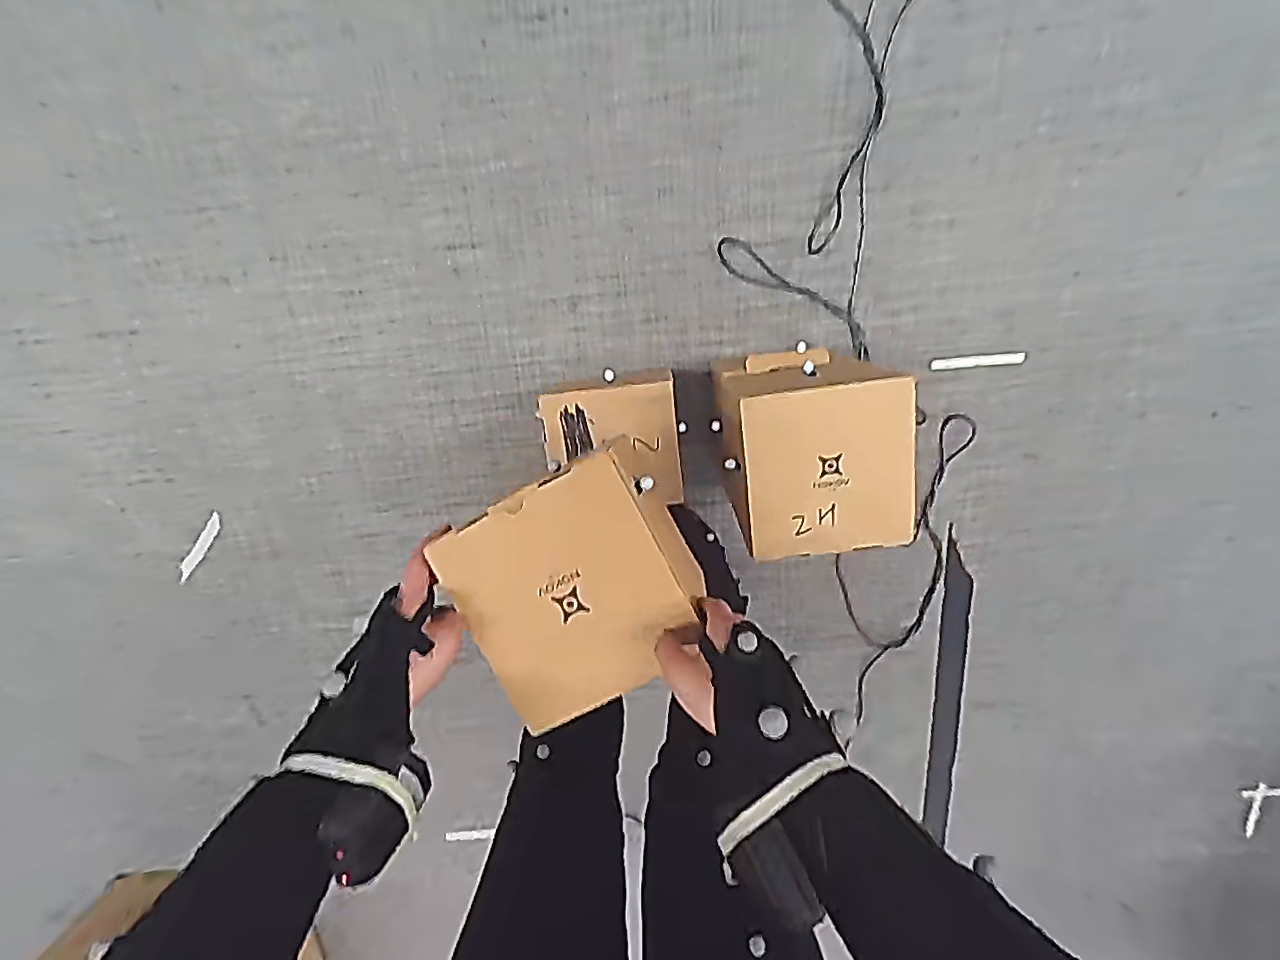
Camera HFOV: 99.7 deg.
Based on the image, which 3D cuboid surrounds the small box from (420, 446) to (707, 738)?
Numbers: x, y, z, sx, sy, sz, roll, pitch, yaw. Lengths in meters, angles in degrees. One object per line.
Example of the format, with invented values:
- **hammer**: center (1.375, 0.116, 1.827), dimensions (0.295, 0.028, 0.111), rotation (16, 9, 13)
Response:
- **small box**: center (-0.052, 0.083, 0.489), dimensions (0.168, 0.176, 0.179), rotation (-29, 94, 6)

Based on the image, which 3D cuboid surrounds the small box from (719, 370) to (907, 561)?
- **small box**: center (0.185, -0.028, 0.617), dimensions (0.168, 0.176, 0.179), rotation (-6, 107, 5)

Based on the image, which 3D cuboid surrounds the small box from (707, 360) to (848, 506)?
- **small box**: center (0.188, -0.076, 0.774), dimensions (0.168, 0.176, 0.179), rotation (-5, 108, 3)
